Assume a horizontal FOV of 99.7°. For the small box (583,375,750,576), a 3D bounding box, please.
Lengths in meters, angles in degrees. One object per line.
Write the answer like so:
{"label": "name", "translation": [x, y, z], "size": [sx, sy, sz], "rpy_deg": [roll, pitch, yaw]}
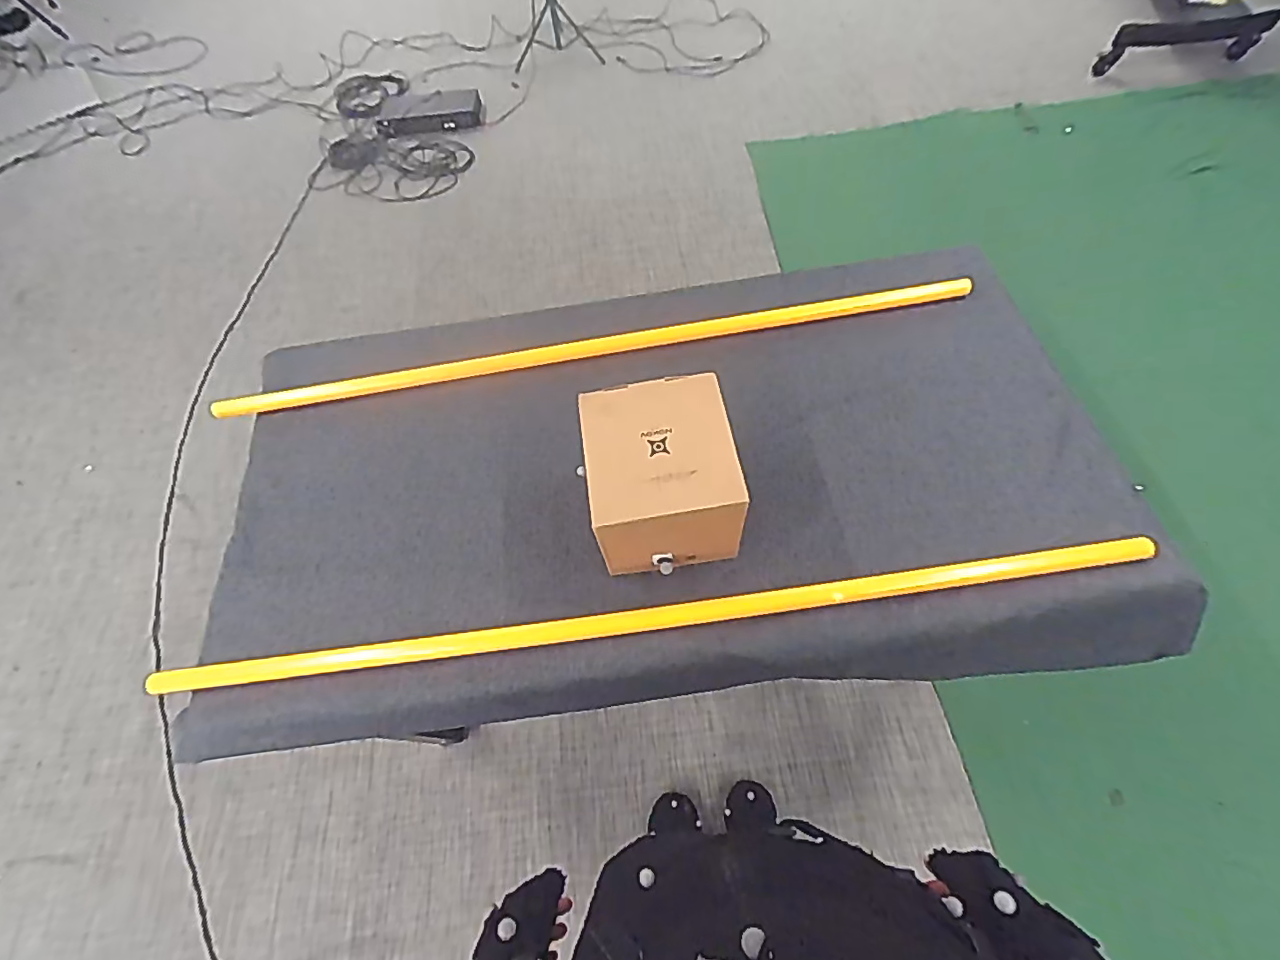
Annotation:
{"label": "small box", "translation": [0.029, 0.001, 0.670], "size": [0.168, 0.176, 0.179], "rpy_deg": [-10, 62, 1]}
